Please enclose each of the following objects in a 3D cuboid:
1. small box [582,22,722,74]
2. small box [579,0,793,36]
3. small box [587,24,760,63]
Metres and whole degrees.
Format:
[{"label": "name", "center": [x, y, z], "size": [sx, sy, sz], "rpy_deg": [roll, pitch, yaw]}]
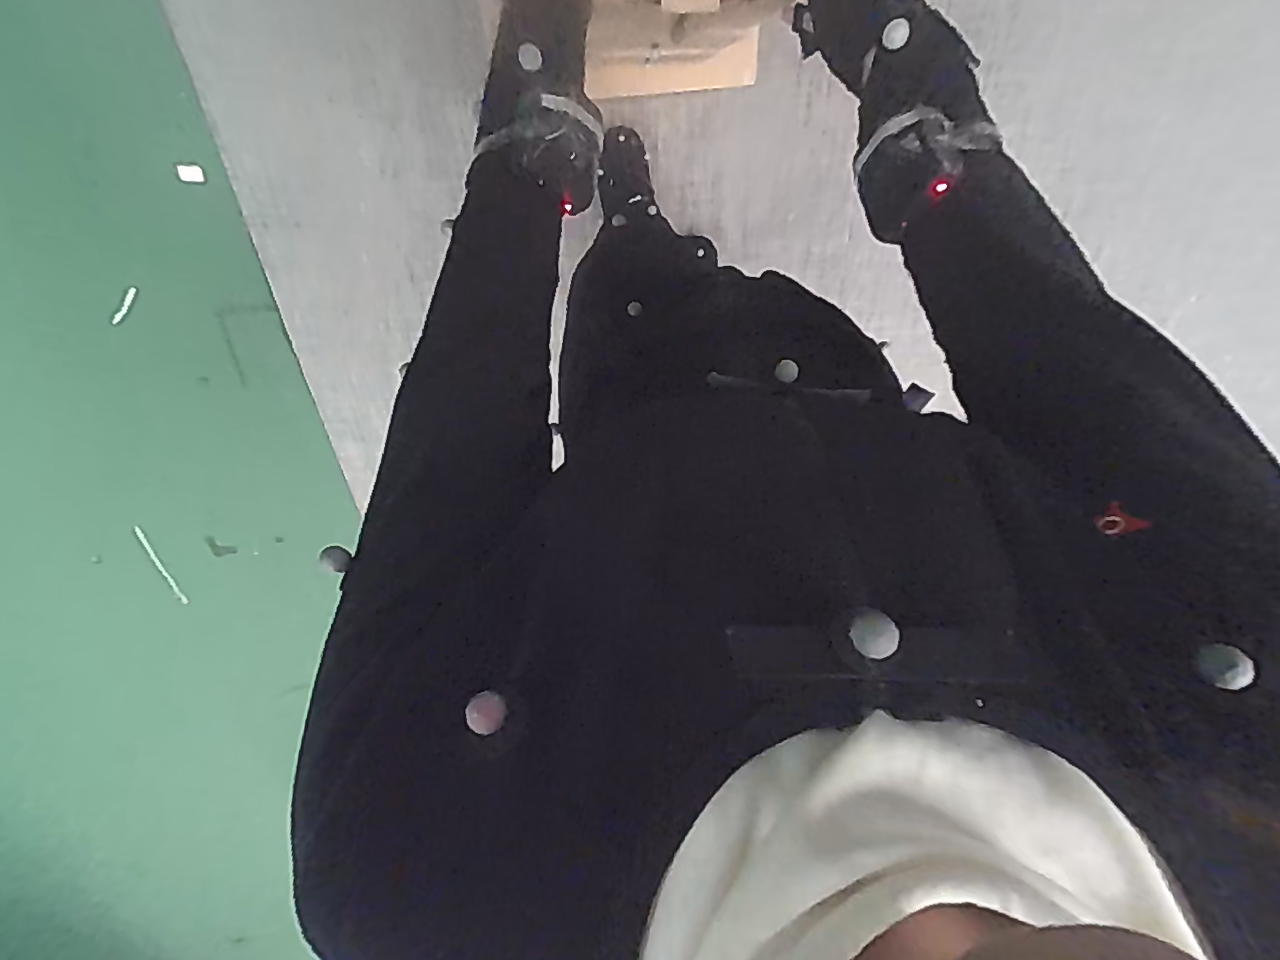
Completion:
[{"label": "small box", "center": [0.012, -0.642, 0.707], "size": [0.179, 0.176, 0.168], "rpy_deg": [-4, 125, -2]}, {"label": "small box", "center": [0.033, -0.469, 0.429], "size": [0.168, 0.176, 0.179], "rpy_deg": [-2, 125, 0]}, {"label": "small box", "center": [0.026, -0.552, 0.570], "size": [0.179, 0.176, 0.168], "rpy_deg": [-5, 125, 0]}]
